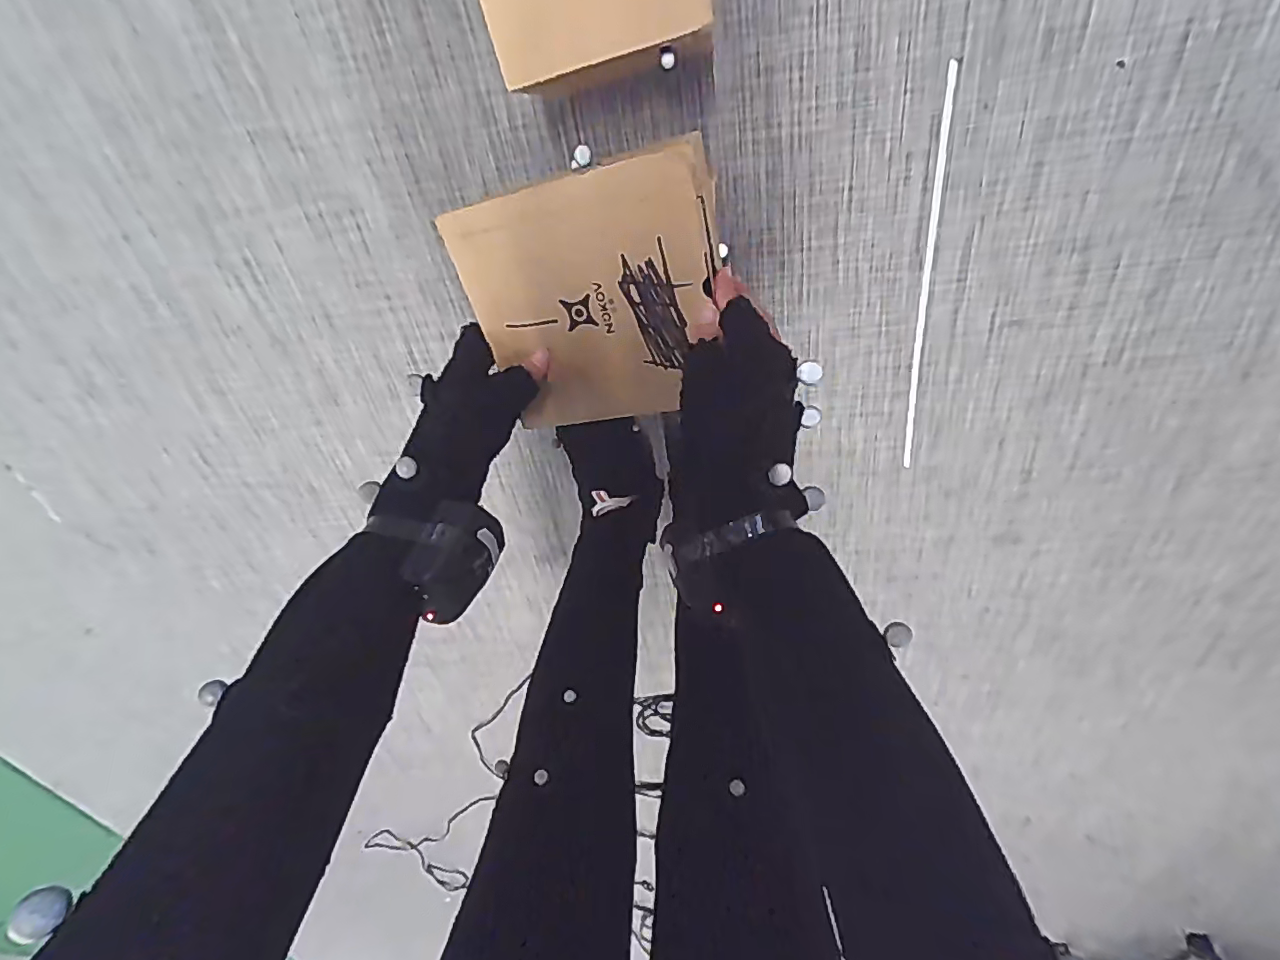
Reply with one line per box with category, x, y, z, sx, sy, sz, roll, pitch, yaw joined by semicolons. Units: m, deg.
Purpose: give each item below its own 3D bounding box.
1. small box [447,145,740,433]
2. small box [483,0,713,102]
small box;-0.019;-0.161;0.446;0.179;0.176;0.168;-8;122;14
small box;-0.035;-0.443;0.462;0.179;0.176;0.168;-9;122;12
